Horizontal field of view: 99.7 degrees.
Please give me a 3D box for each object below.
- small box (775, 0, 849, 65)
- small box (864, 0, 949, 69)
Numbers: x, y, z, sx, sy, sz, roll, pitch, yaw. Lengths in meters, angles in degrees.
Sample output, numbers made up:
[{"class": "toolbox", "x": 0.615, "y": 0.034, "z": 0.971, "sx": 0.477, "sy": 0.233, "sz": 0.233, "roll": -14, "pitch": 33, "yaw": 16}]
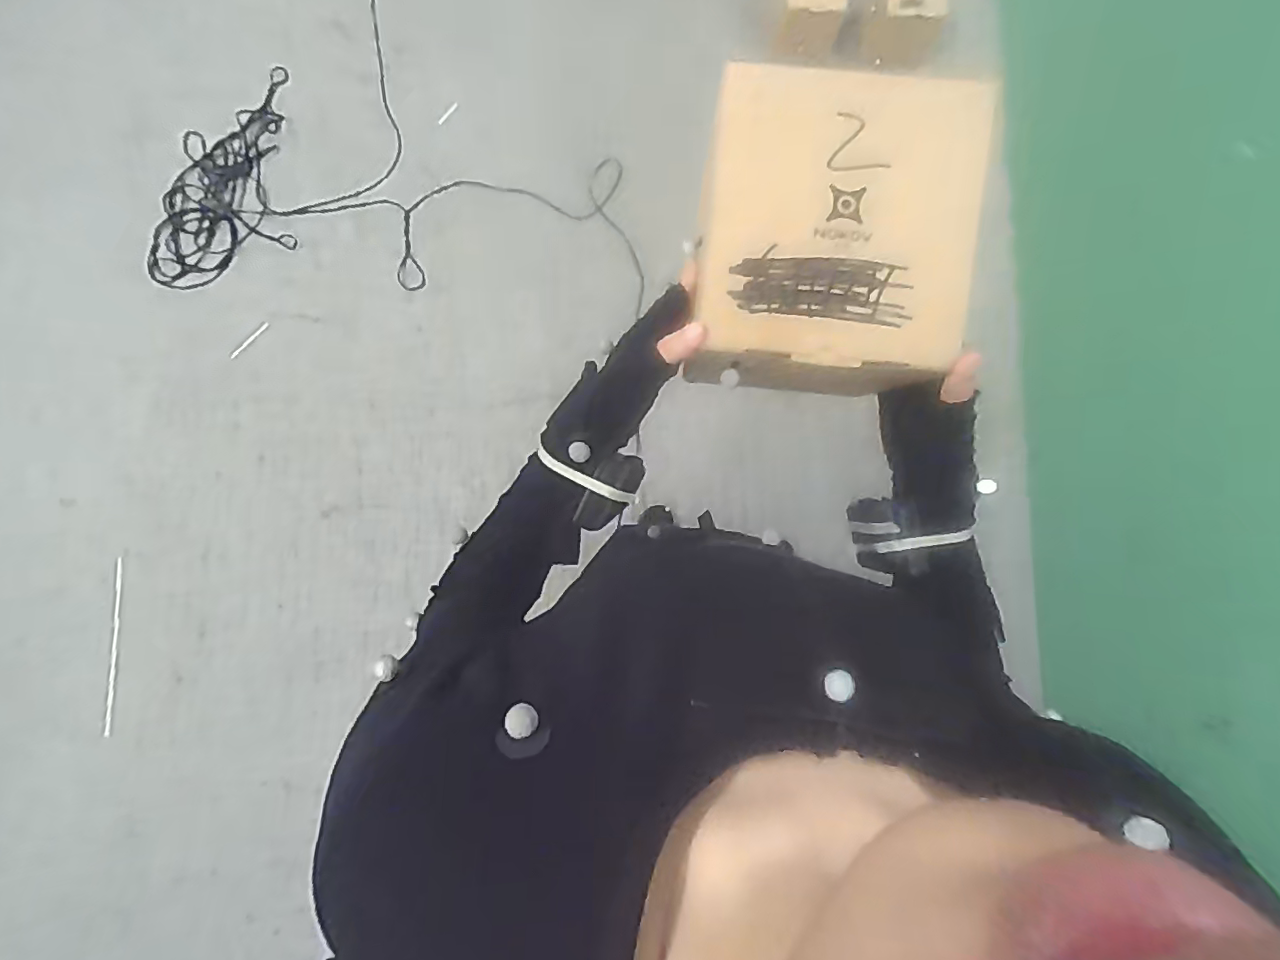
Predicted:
[{"class": "small box", "x": 0.490, "y": -1.348, "z": 1.552, "sx": 0.168, "sy": 0.176, "sz": 0.179, "roll": 3, "pitch": 85, "yaw": 0}, {"class": "small box", "x": 0.758, "y": -1.325, "z": 1.550, "sx": 0.168, "sy": 0.176, "sz": 0.179, "roll": 2, "pitch": 84, "yaw": 0}]
